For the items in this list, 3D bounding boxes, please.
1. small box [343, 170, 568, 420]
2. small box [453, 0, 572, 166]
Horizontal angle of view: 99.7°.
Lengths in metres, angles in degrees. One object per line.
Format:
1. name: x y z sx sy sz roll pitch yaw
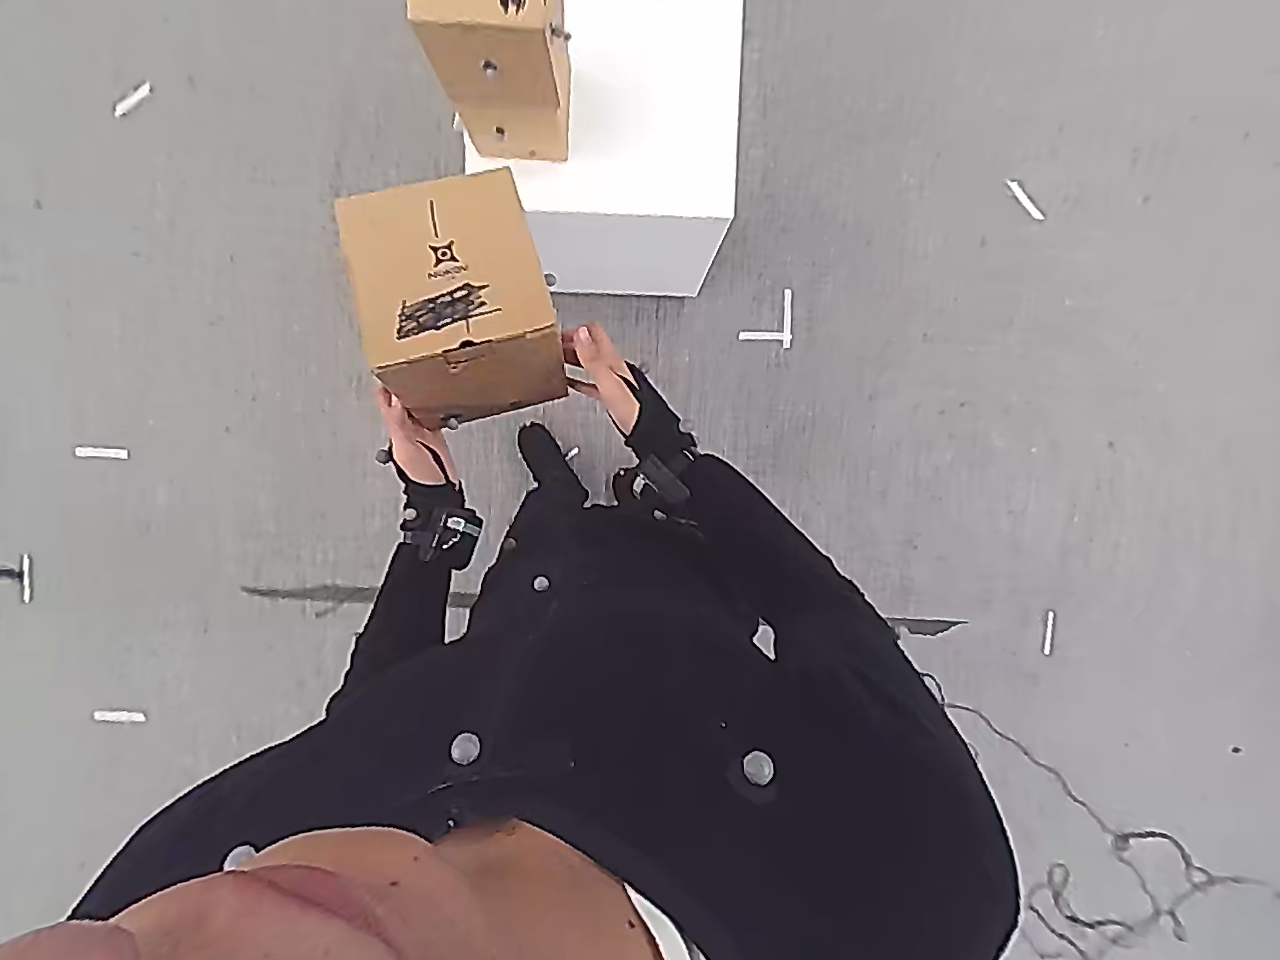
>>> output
1. small box: -0.175 -0.174 0.562 0.168 0.176 0.179 -15 78 -8
2. small box: -0.208 -0.665 0.921 0.168 0.176 0.179 2 93 -2
